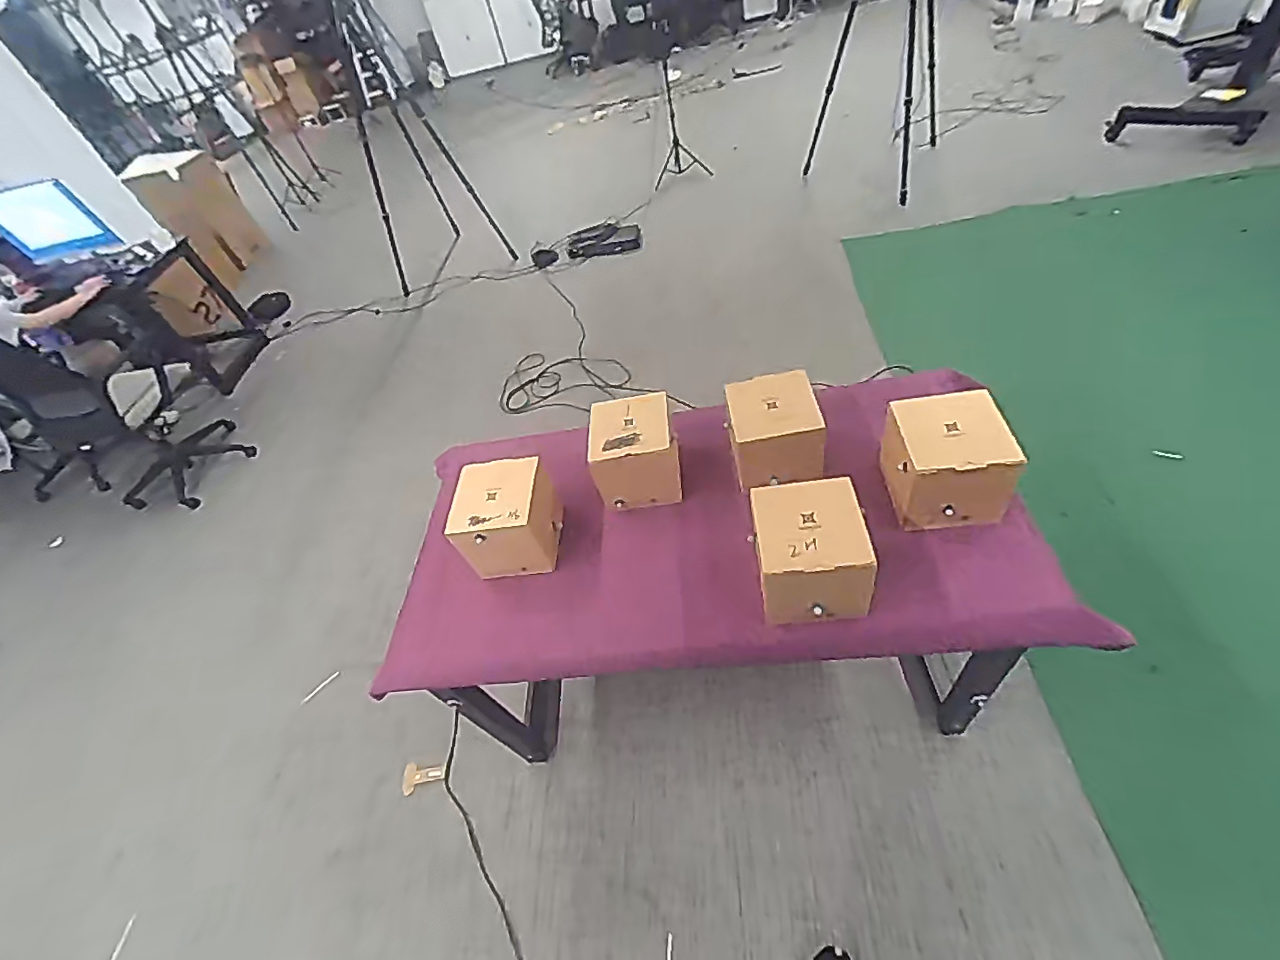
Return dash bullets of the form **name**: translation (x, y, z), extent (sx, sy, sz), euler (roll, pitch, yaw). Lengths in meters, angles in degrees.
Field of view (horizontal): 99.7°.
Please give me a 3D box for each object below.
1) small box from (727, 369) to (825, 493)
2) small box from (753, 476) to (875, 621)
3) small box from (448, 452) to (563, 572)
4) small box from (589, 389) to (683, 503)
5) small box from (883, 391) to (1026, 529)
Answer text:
- **small box**: translation (0.275, -0.099, 1.112), extent (0.168, 0.176, 0.179), euler (-9, 49, 9)
- **small box**: translation (0.284, 0.118, 0.918), extent (0.168, 0.176, 0.179), euler (-7, 47, 10)
- **small box**: translation (-0.264, 0.068, 1.113), extent (0.168, 0.176, 0.179), euler (-7, 49, 9)
- **small box**: translation (-0.003, -0.065, 1.157), extent (0.168, 0.176, 0.179), euler (-8, 48, 9)
- **small box**: translation (0.551, -0.034, 0.979), extent (0.168, 0.176, 0.179), euler (-7, 48, 11)
